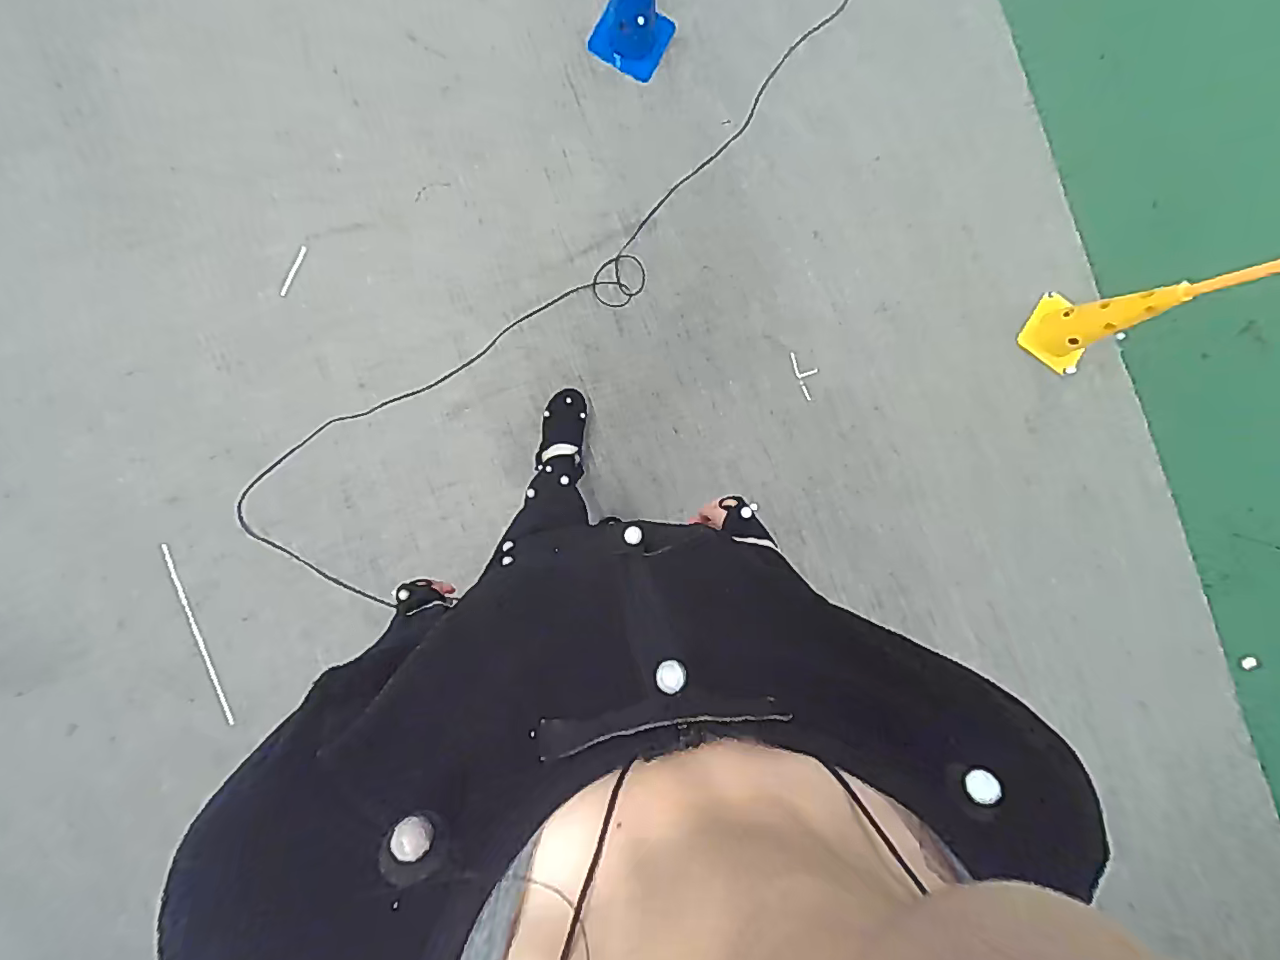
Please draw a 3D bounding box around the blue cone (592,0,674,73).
[{"bbox_3d":[-0.011,-1.241,1.336,0.193,0.380,0.192,25,88,-3],"label":"blue cone"}]
